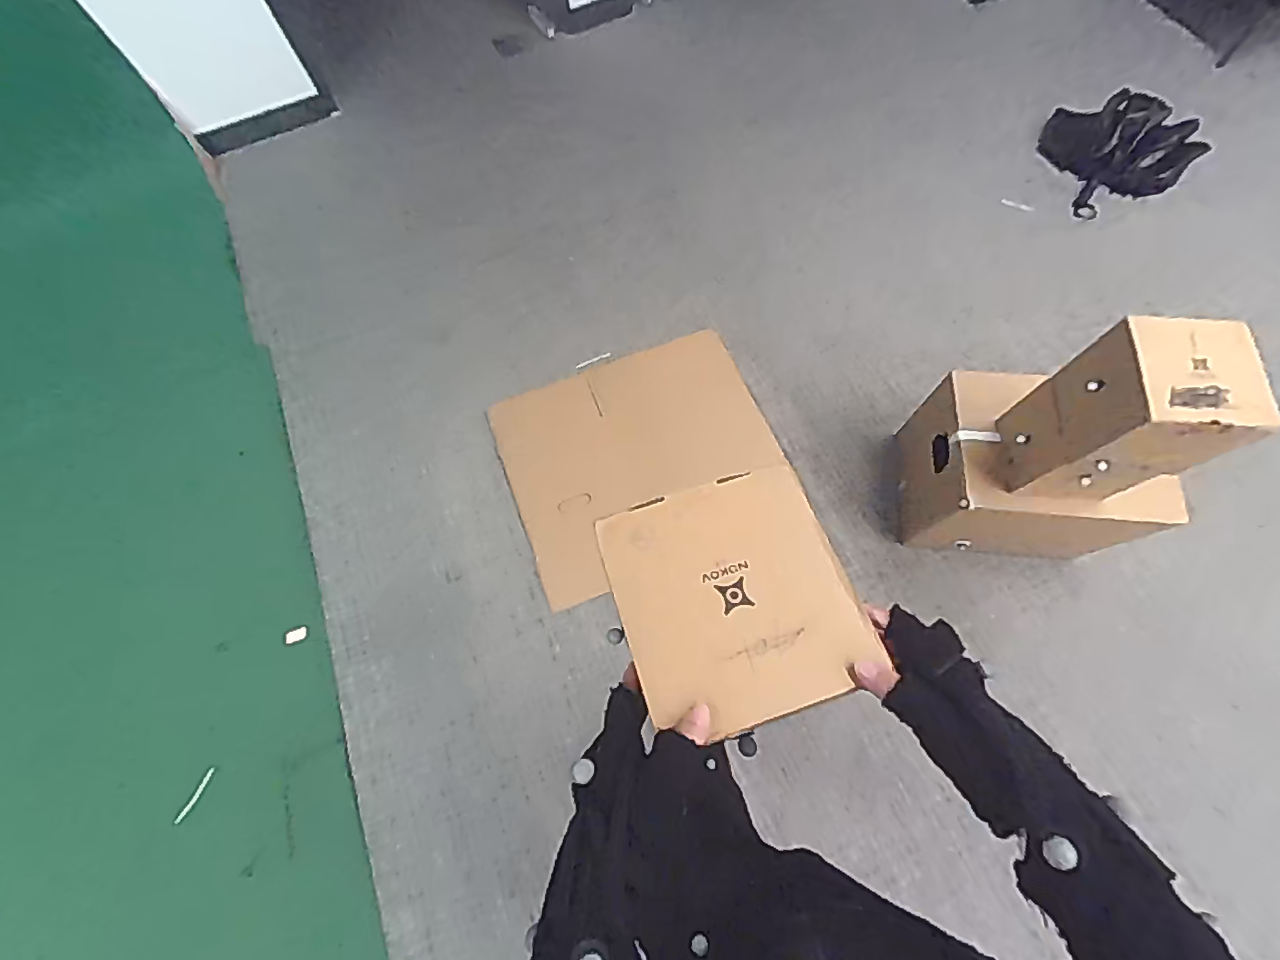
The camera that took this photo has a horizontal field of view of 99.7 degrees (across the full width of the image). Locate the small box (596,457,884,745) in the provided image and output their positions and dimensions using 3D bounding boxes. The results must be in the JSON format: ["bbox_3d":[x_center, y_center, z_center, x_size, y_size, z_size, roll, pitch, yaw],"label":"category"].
[{"bbox_3d":[0.069,0.112,0.469,0.168,0.176,0.179,-18,63,-5],"label":"small box"}]

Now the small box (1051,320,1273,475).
[{"bbox_3d":[0.781,-0.120,0.834,0.168,0.176,0.179,5,68,5],"label":"small box"}]

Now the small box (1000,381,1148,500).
[{"bbox_3d":[0.797,-0.067,0.992,0.179,0.176,0.168,0,67,3],"label":"small box"}]
